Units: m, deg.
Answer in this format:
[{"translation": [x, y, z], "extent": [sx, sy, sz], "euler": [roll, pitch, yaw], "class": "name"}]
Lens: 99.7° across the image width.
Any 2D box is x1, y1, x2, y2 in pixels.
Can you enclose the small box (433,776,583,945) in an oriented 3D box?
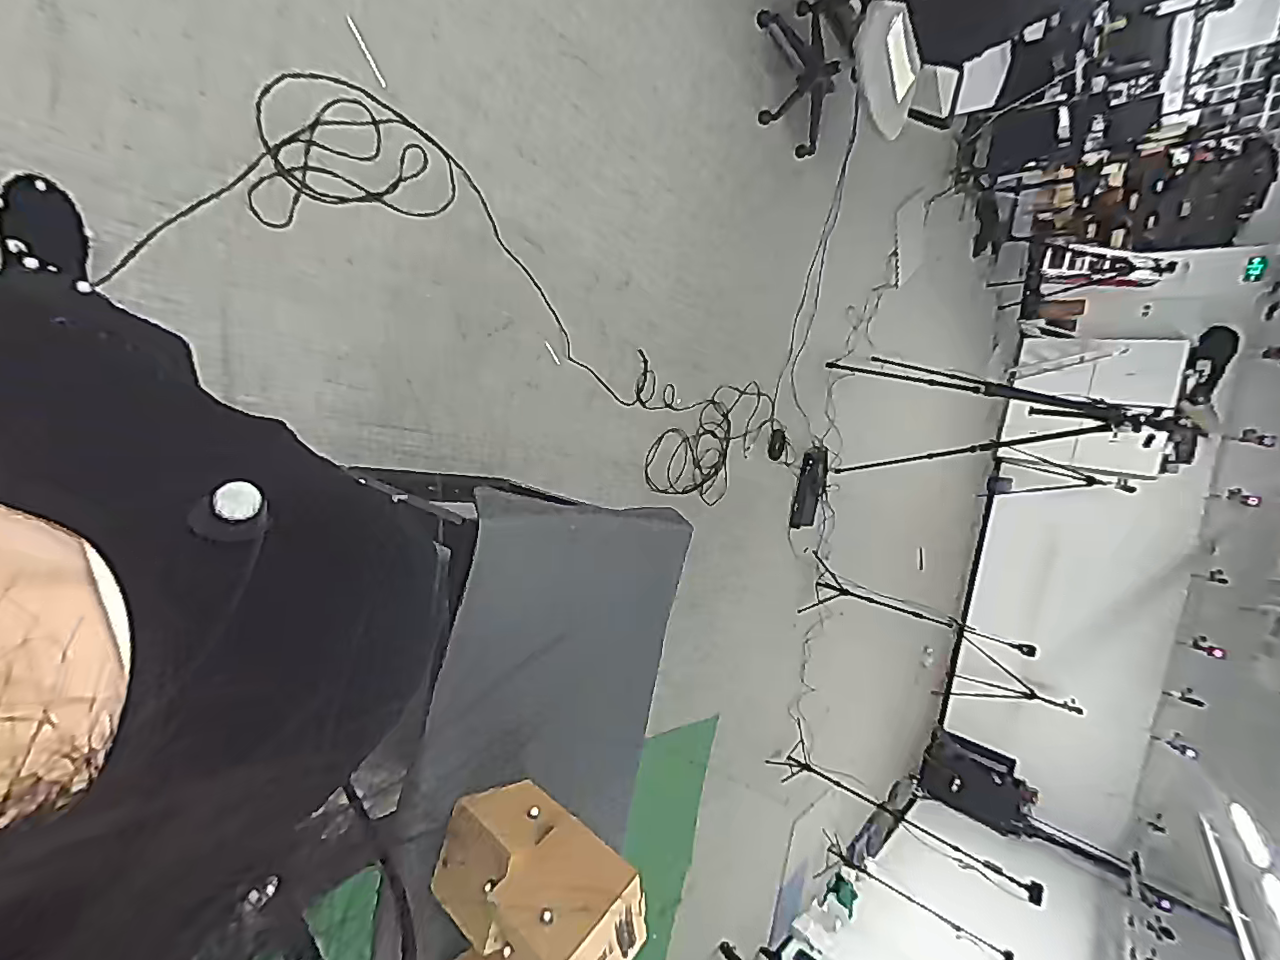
[{"translation": [-0.239, 0.671, 0.984], "extent": [0.179, 0.176, 0.168], "euler": [20, 84, -51], "class": "small box"}]
